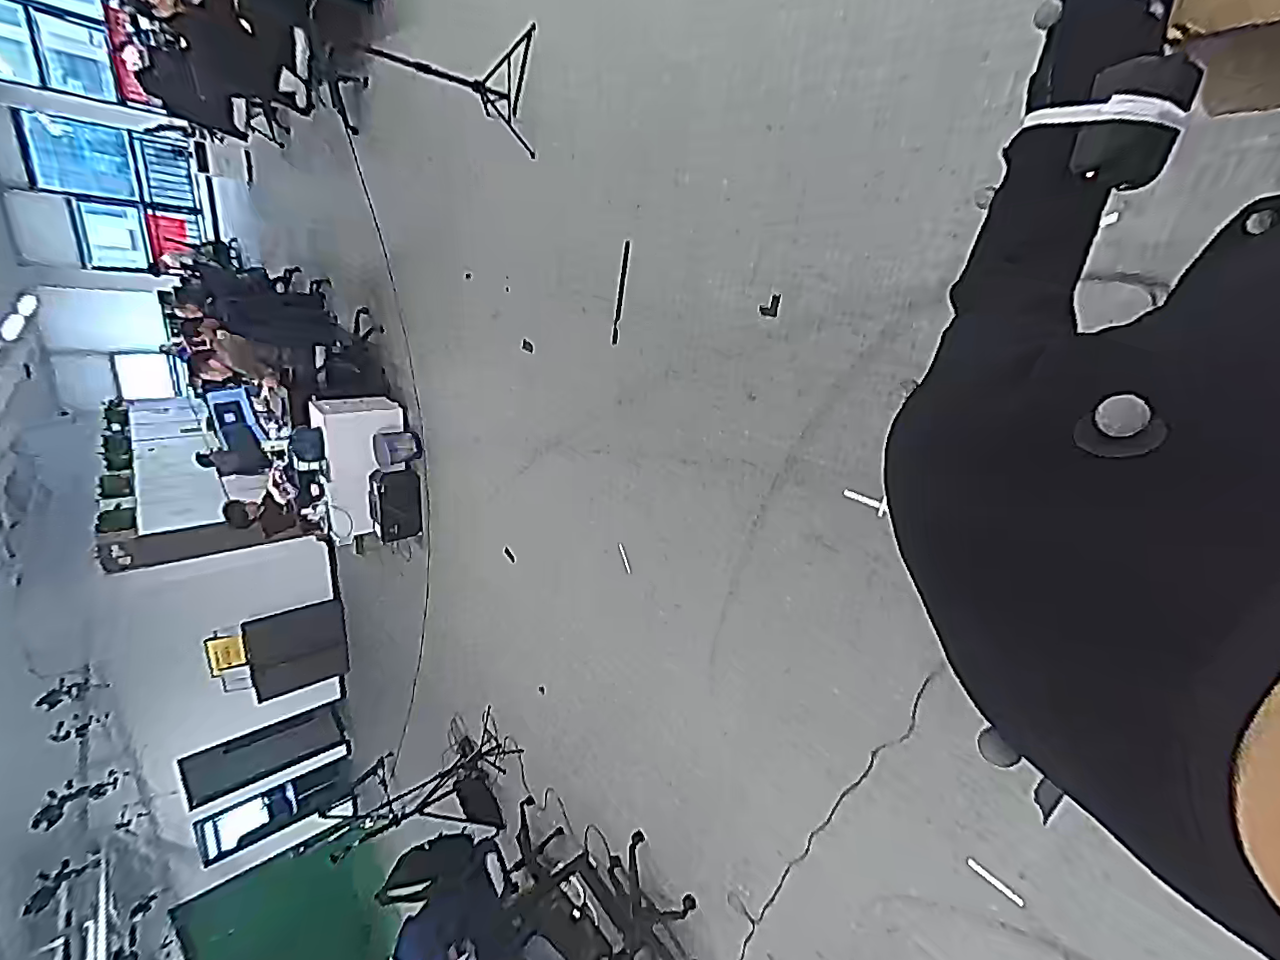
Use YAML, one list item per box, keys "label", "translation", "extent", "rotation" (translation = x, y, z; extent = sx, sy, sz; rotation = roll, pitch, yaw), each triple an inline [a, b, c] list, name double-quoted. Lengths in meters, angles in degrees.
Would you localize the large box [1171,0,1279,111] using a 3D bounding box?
- label: "large box"
  translation: [0.582, -0.420, 0.257]
  extent: [0.408, 0.320, 0.320]
  rotation: [21, 121, 43]
